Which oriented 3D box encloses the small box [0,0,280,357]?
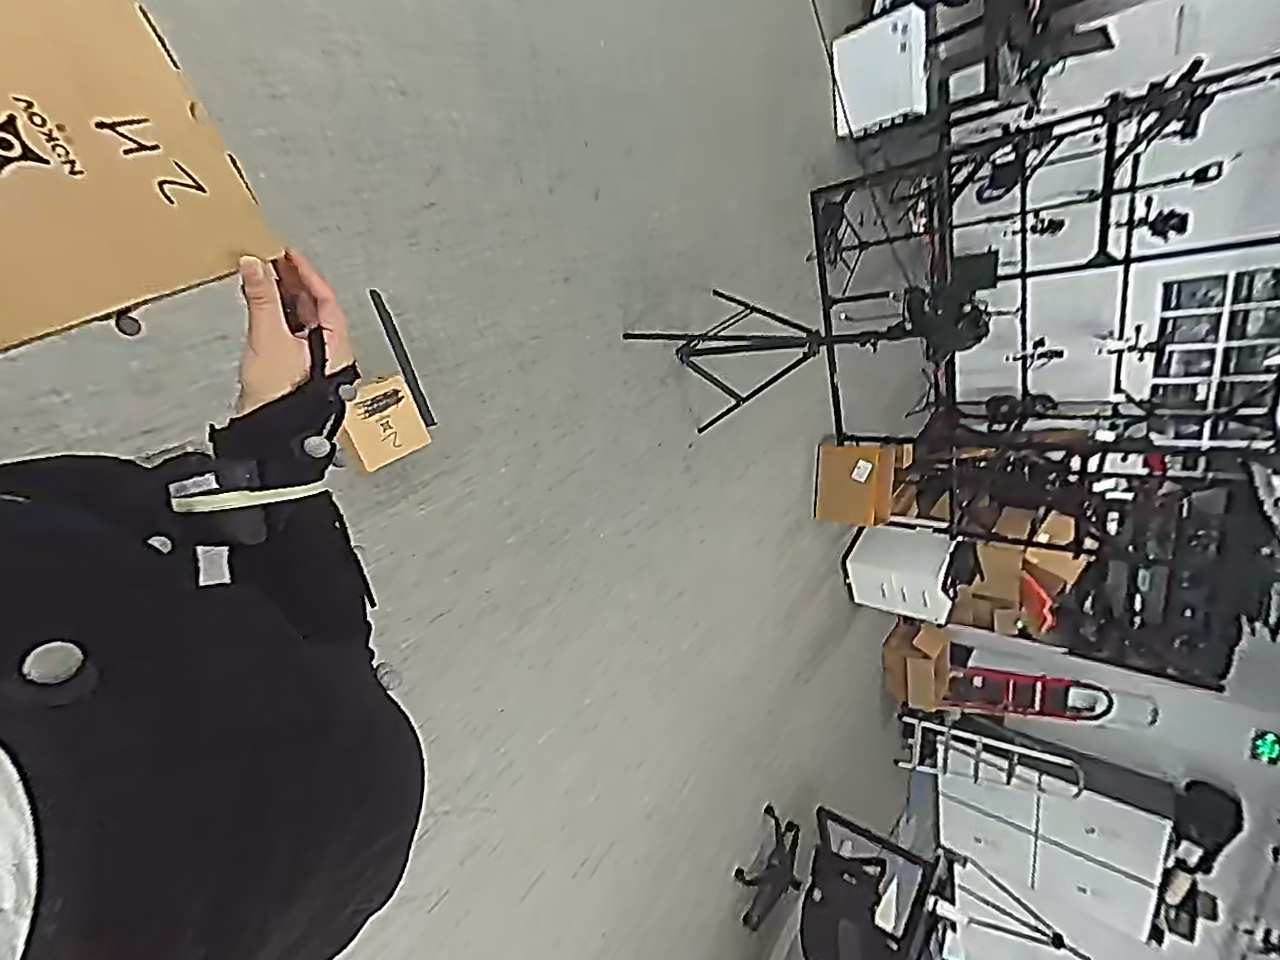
[{"bbox_3d":[-0.376,-0.181,0.332,0.179,0.176,0.168,-42,130,-34],"label":"small box"}]
